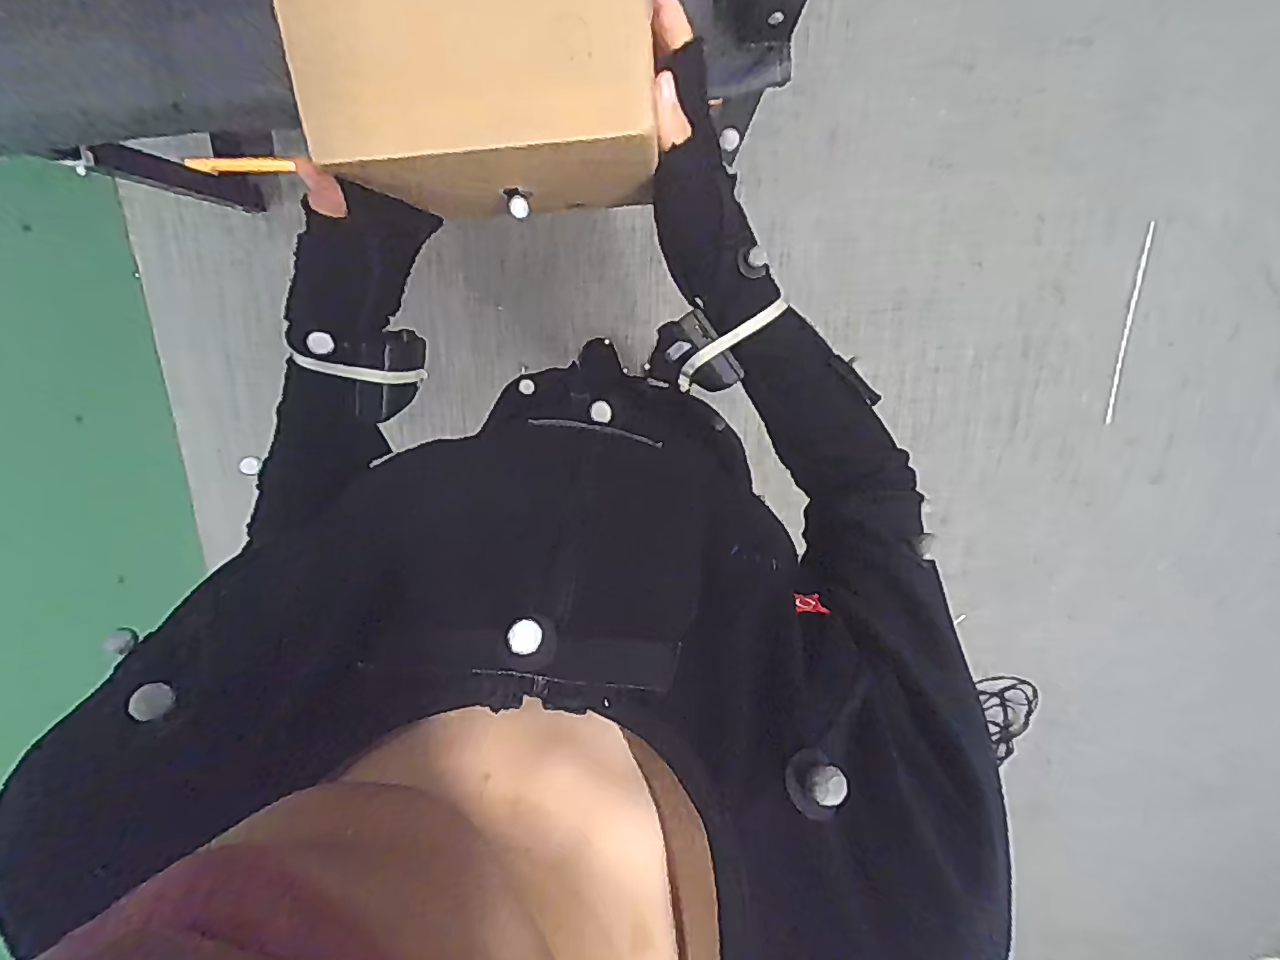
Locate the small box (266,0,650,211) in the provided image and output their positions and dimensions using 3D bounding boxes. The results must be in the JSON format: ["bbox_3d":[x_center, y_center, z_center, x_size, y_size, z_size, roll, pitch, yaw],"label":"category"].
[{"bbox_3d":[-0.081,-0.259,0.305,0.168,0.176,0.179,-2,107,3],"label":"small box"}]
